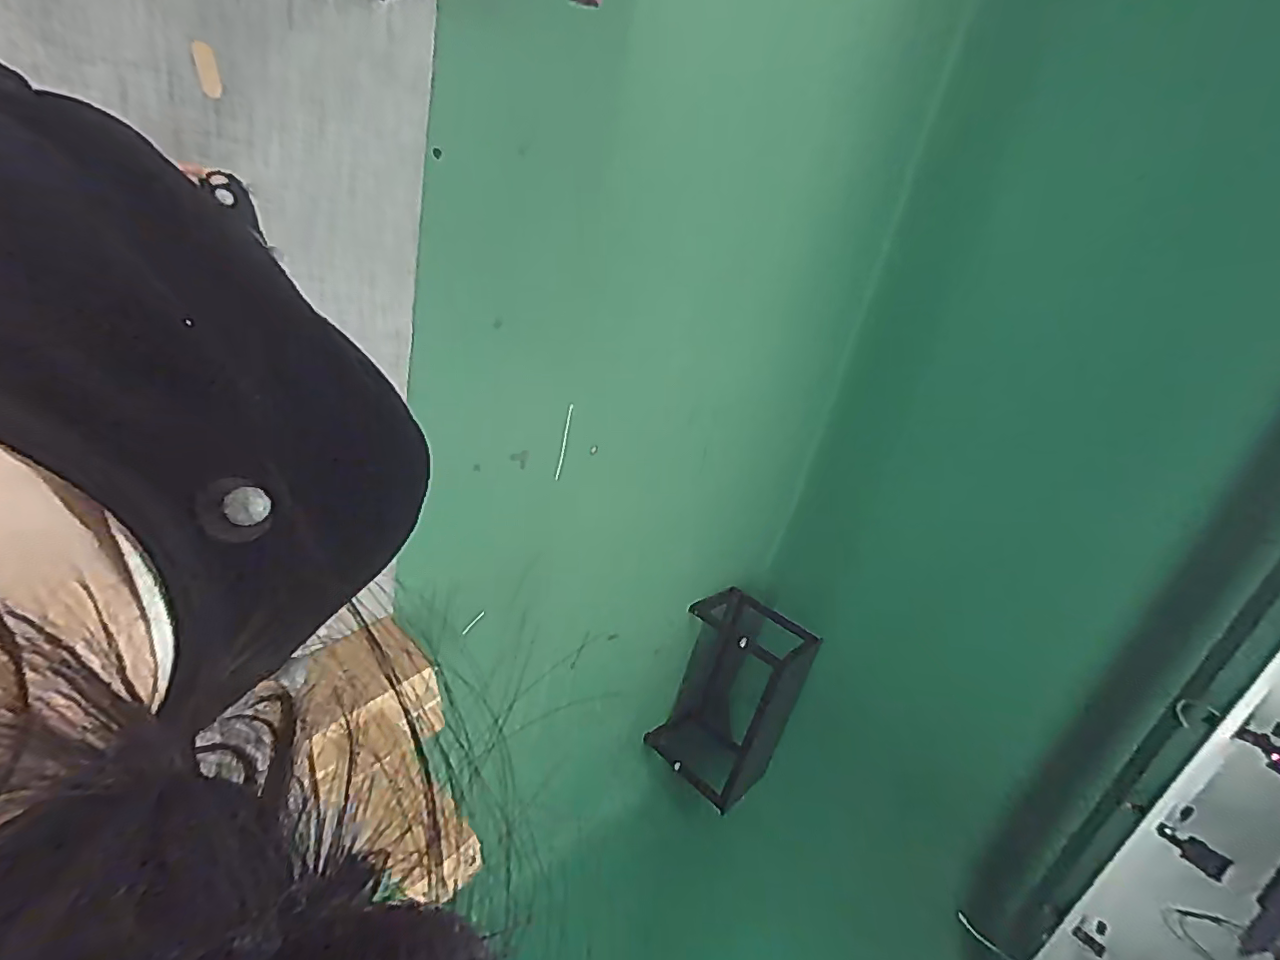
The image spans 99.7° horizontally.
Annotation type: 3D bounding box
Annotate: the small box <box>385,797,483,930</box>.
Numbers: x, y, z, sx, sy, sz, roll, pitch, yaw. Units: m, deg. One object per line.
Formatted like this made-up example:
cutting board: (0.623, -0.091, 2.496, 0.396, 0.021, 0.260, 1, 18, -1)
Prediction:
small box: (-0.522, 0.959, 1.365, 0.179, 0.176, 0.168, -25, 130, -39)

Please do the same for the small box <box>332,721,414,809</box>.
small box: (-0.758, 0.829, 1.553, 0.168, 0.176, 0.179, -25, 131, -40)

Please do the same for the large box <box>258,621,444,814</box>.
large box: (-0.906, 0.733, 1.727, 0.408, 0.320, 0.320, -27, 133, -41)

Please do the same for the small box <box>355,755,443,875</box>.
small box: (-0.642, 0.895, 1.457, 0.179, 0.176, 0.168, -27, 131, -39)
